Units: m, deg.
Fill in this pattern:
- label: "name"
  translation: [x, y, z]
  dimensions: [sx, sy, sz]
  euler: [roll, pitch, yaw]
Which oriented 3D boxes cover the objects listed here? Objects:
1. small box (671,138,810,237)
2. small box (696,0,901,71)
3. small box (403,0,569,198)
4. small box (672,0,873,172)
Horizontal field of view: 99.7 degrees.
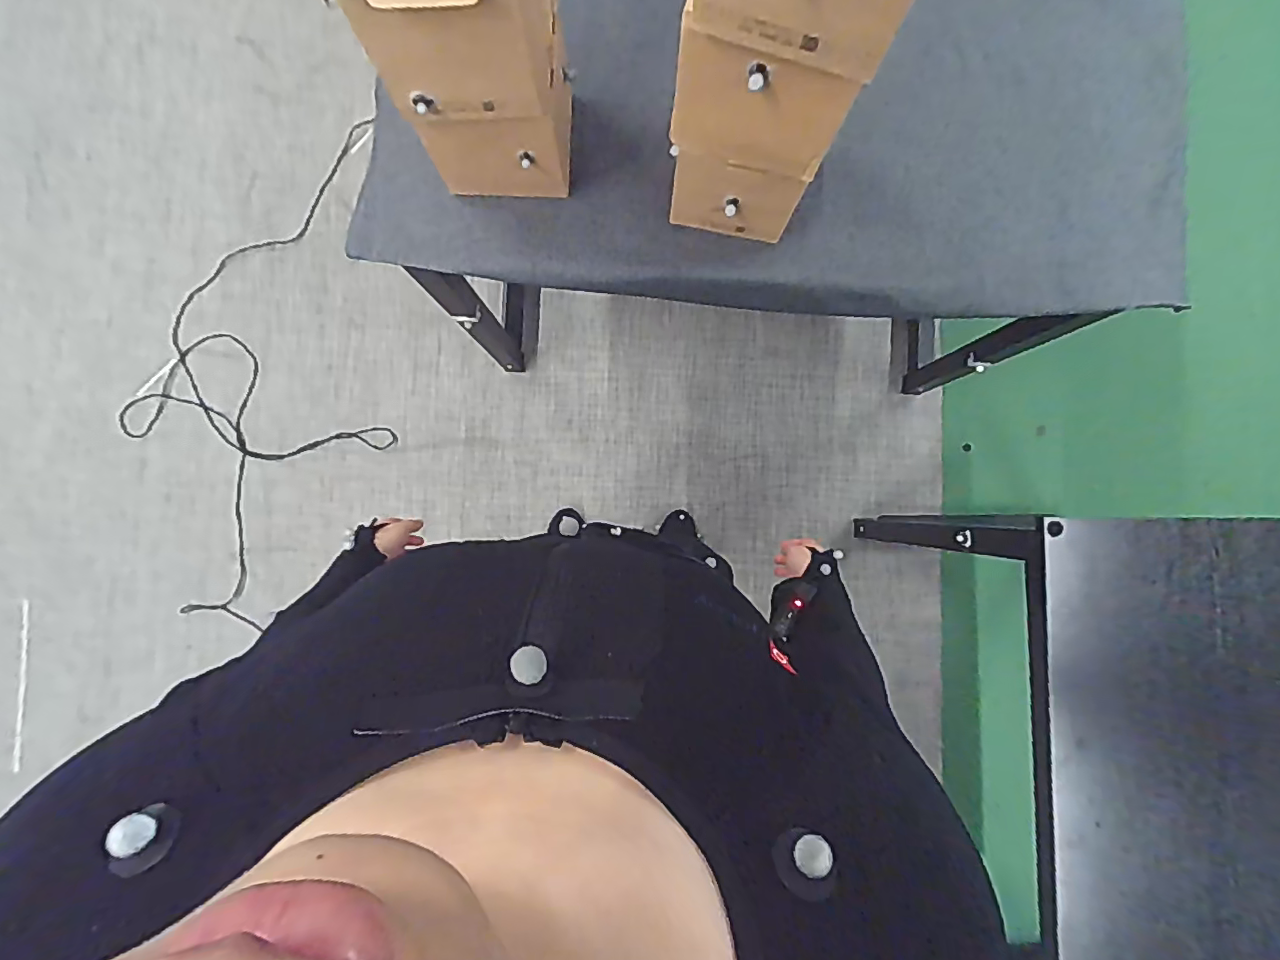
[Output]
- label: "small box"
  translation: [0.137, -0.454, 0.718]
  dimensions: [0.168, 0.176, 0.179]
  euler: [11, 87, 1]
- label: "small box"
  translation: [0.139, -0.452, 0.389]
  dimensions: [0.168, 0.176, 0.179]
  euler: [18, 87, 1]
- label: "small box"
  translation: [-0.192, -0.503, 0.723]
  dimensions: [0.179, 0.176, 0.168]
  euler: [1, 85, 1]
- label: "small box"
  translation: [0.139, -0.454, 0.555]
  dimensions: [0.179, 0.176, 0.168]
  euler: [16, 86, 2]
